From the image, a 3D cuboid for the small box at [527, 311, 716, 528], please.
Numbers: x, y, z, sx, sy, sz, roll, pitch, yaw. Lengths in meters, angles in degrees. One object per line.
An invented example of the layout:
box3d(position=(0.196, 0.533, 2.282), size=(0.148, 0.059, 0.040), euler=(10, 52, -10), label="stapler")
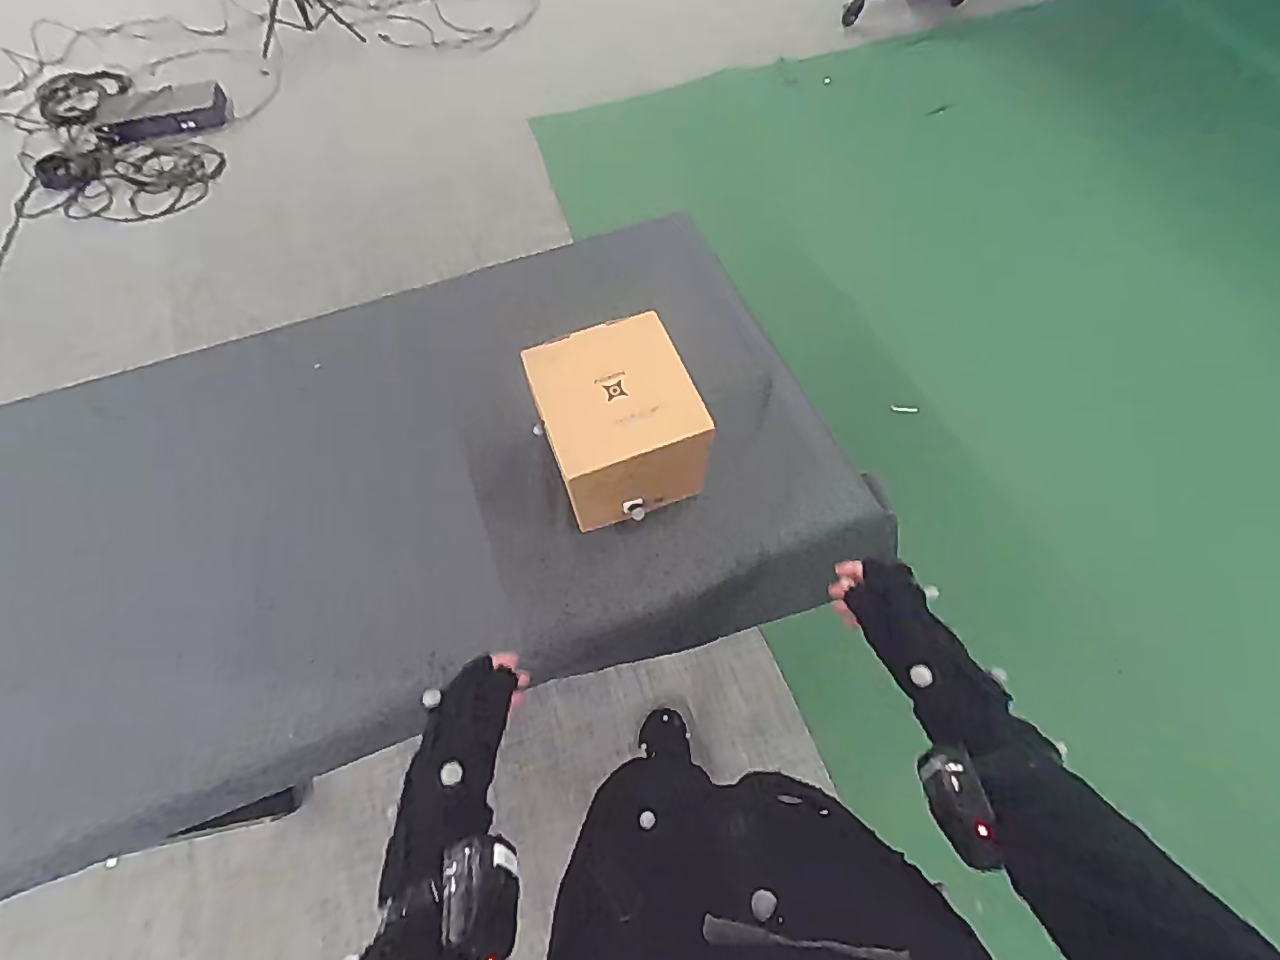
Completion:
box3d(position=(-0.023, -0.067, 0.662), size=(0.168, 0.176, 0.179), euler=(-20, 67, -7), label="small box")
